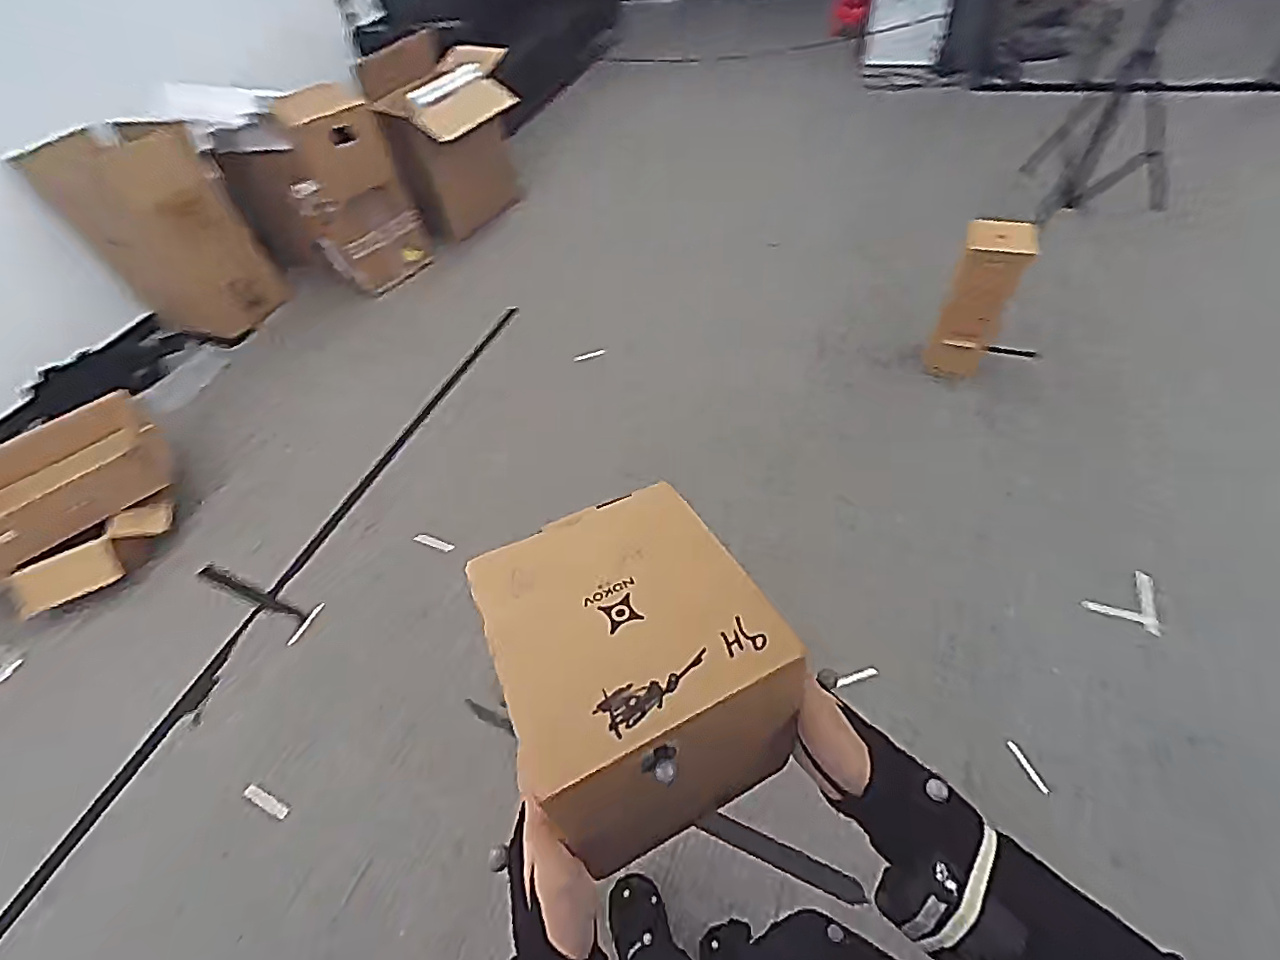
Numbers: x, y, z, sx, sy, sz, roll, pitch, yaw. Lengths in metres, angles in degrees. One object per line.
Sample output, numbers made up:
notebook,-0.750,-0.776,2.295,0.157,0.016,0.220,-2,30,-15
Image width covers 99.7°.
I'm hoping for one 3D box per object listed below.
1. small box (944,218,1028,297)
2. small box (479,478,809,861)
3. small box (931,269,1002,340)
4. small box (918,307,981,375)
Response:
small box,1.087,-0.696,1.703,0.179,0.176,0.168,12,57,17
small box,-0.001,0.134,0.402,0.168,0.176,0.179,-22,43,-13
small box,1.103,-0.600,1.833,0.168,0.176,0.179,13,56,17
small box,1.123,-0.504,1.962,0.168,0.176,0.179,13,57,18
